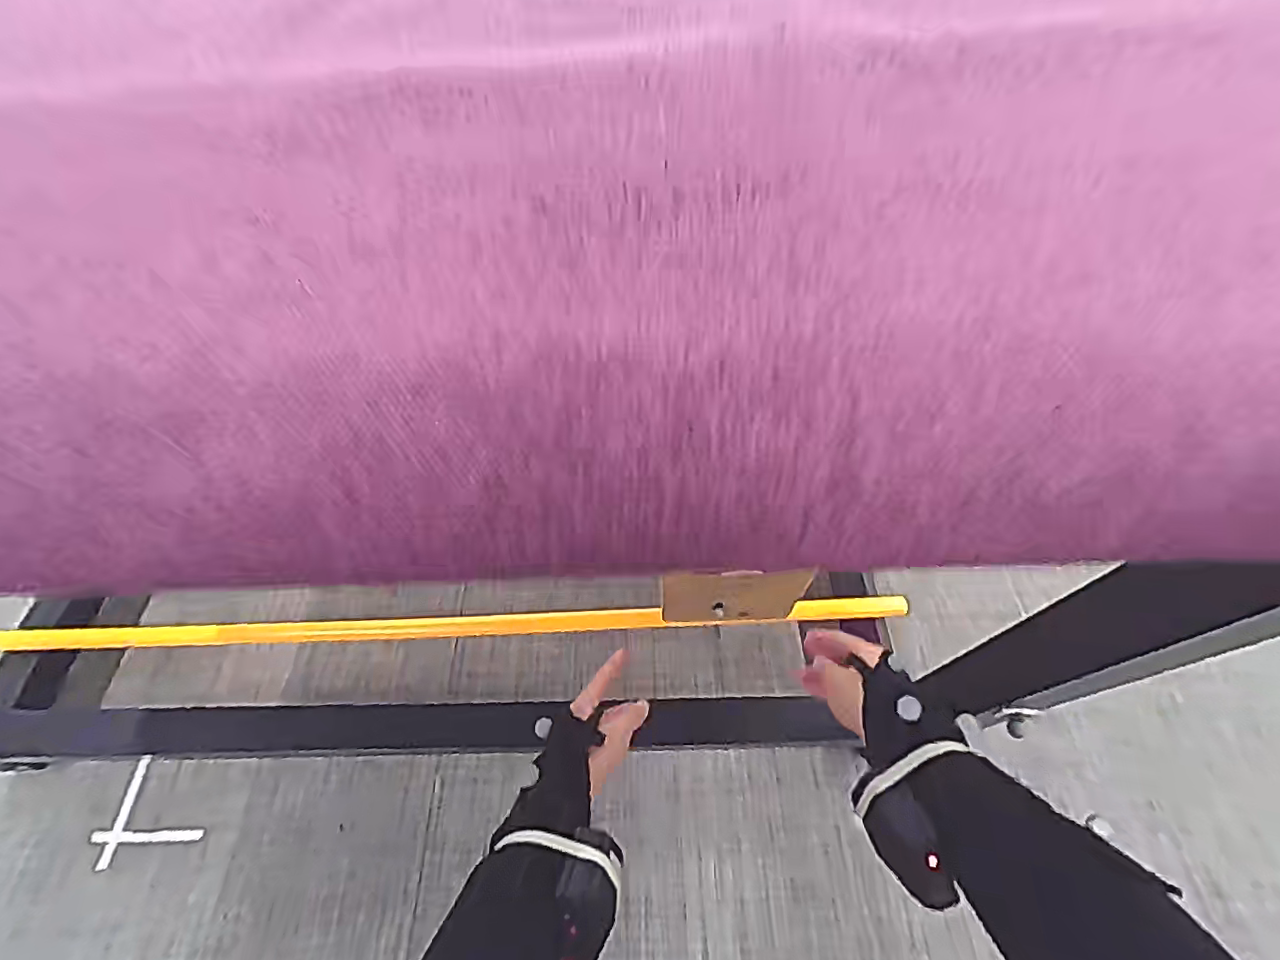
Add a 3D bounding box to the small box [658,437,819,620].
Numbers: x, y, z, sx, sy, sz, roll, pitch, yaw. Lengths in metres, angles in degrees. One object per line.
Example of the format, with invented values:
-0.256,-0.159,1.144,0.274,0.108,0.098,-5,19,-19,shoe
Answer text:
0.108,0.065,0.683,0.168,0.176,0.179,-2,59,0,small box
